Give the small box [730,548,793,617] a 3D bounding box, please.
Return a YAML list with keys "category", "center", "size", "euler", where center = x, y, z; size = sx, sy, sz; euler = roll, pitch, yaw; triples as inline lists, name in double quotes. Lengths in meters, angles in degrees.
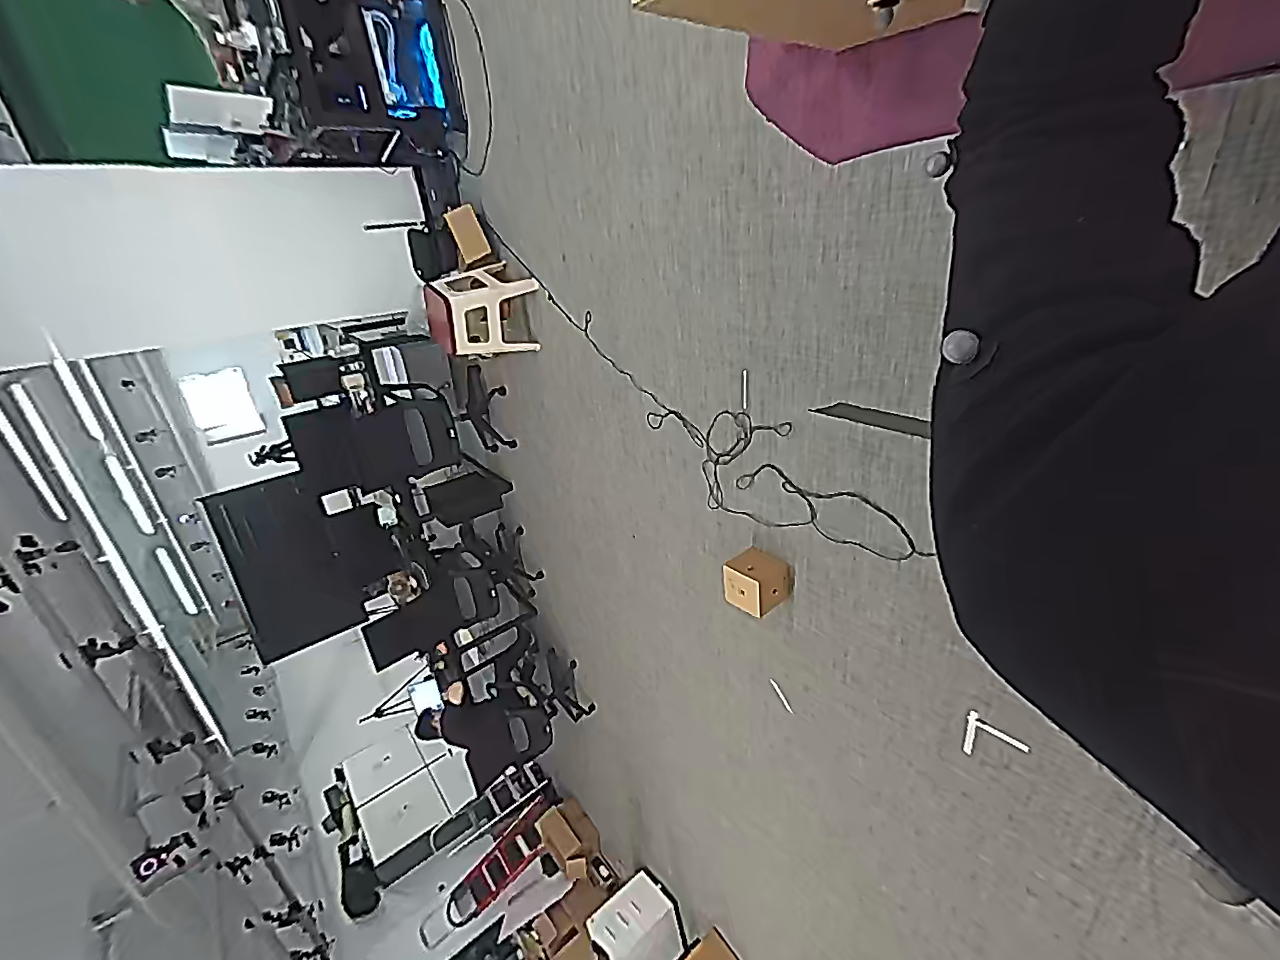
- category: "small box"
  center: [0.463, 0.380, 2.048]
  size: [0.179, 0.176, 0.168]
  euler: [24, 128, 48]
